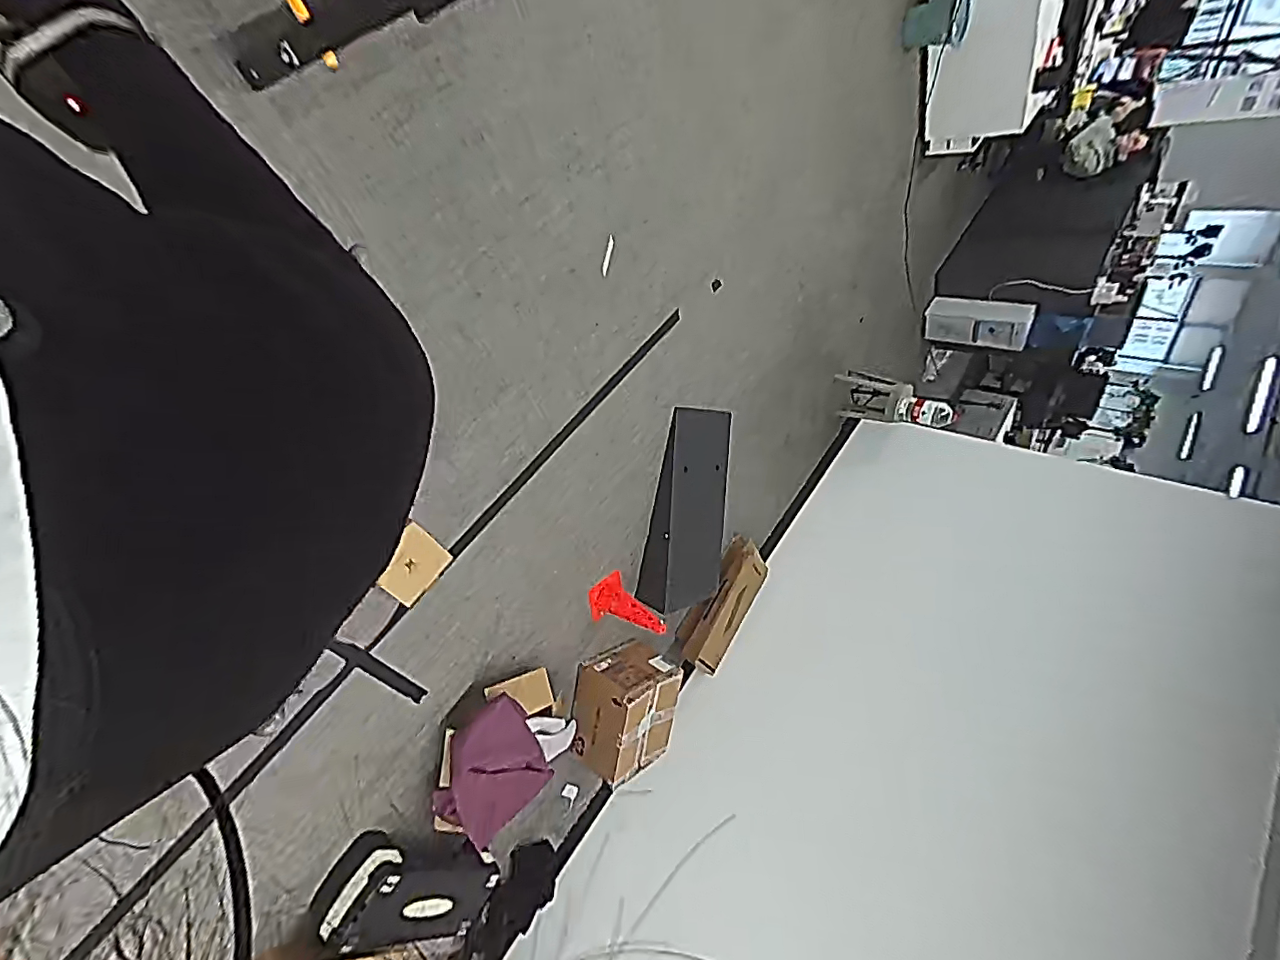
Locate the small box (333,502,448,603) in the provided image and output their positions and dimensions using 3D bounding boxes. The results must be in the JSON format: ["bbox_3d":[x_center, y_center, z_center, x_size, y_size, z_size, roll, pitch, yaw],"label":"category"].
[{"bbox_3d":[-0.642,0.181,1.394,0.168,0.176,0.179,-52,139,-22],"label":"small box"}]
